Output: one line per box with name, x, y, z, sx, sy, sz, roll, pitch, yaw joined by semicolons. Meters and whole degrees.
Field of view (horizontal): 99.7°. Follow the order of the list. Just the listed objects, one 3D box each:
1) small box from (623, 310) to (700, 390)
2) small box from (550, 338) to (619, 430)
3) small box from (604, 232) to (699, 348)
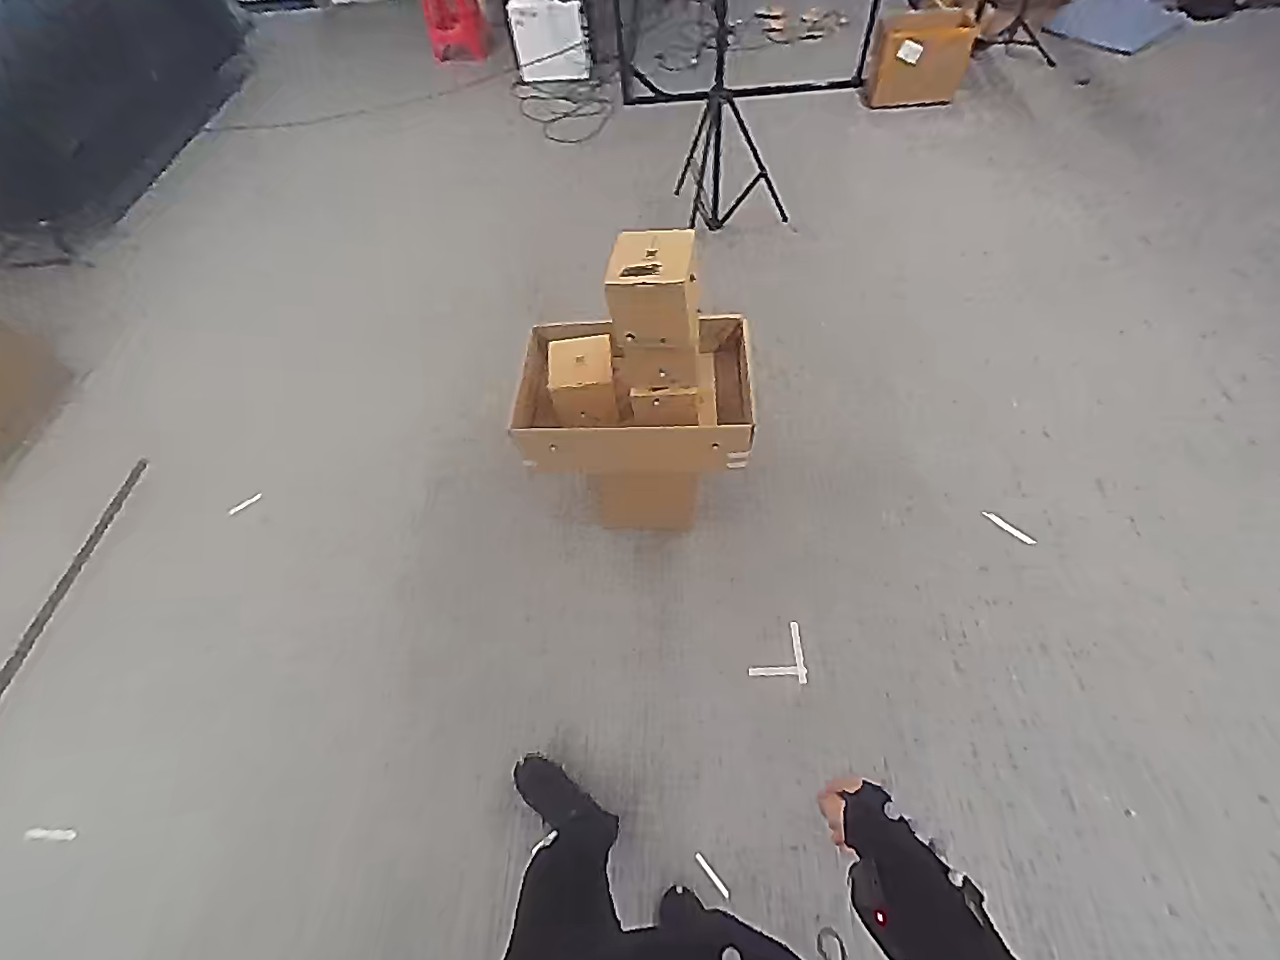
small box;0.056;-0.339;1.311;0.168;0.176;0.179;-1;58;10
small box;-0.150;-0.259;1.478;0.168;0.176;0.179;-7;57;1
small box;0.034;-0.400;1.156;0.168;0.176;0.179;4;58;12
